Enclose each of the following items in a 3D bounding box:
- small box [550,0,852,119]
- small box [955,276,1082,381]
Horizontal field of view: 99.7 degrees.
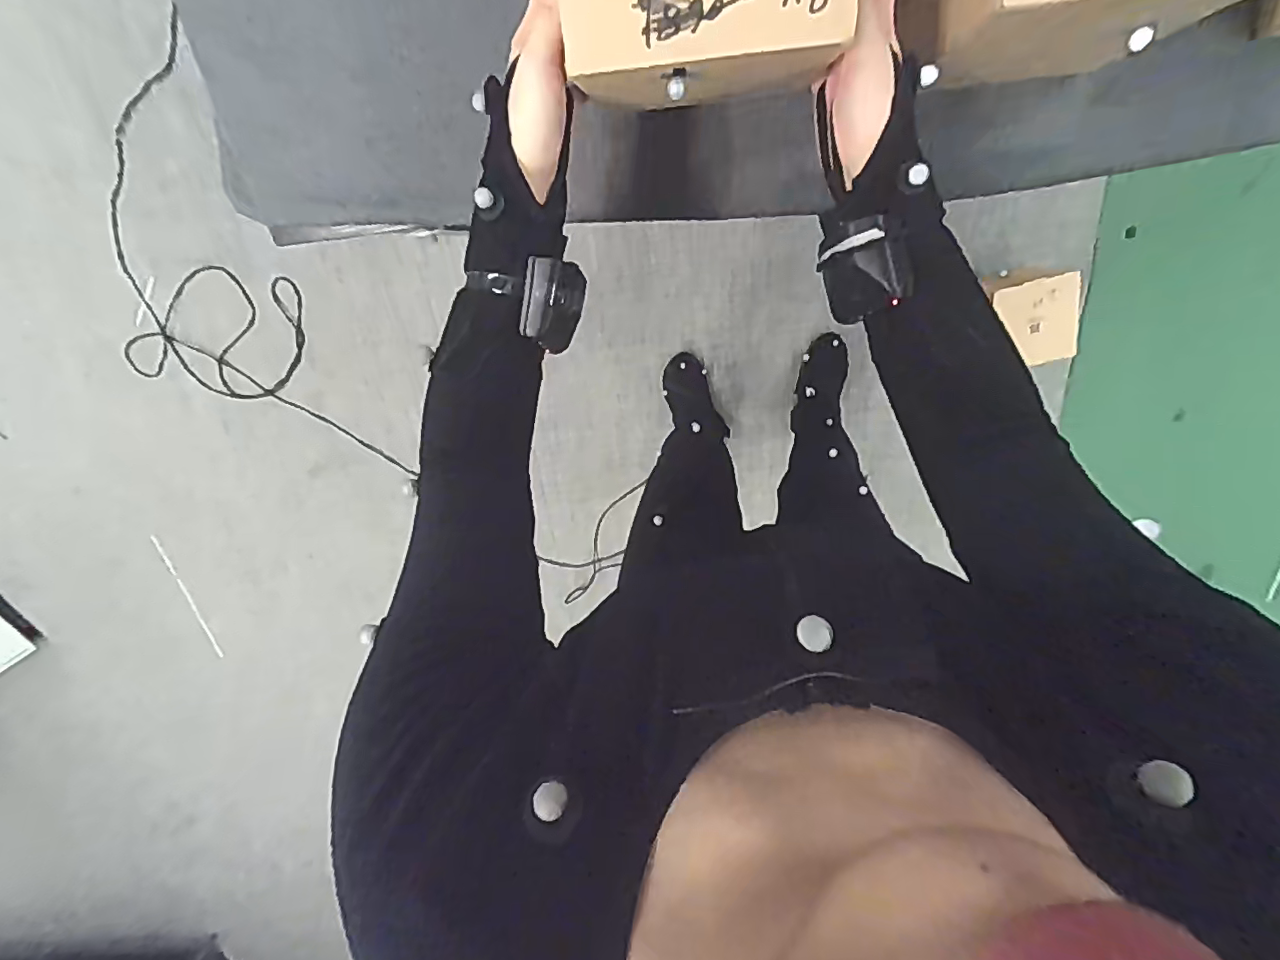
[{"bbox_3d":[0.035,-0.347,0.338,0.168,0.176,0.179,-1,118,7],"label":"small box"},{"bbox_3d":[0.808,-0.333,1.173,0.168,0.176,0.179,-12,112,8],"label":"small box"}]
